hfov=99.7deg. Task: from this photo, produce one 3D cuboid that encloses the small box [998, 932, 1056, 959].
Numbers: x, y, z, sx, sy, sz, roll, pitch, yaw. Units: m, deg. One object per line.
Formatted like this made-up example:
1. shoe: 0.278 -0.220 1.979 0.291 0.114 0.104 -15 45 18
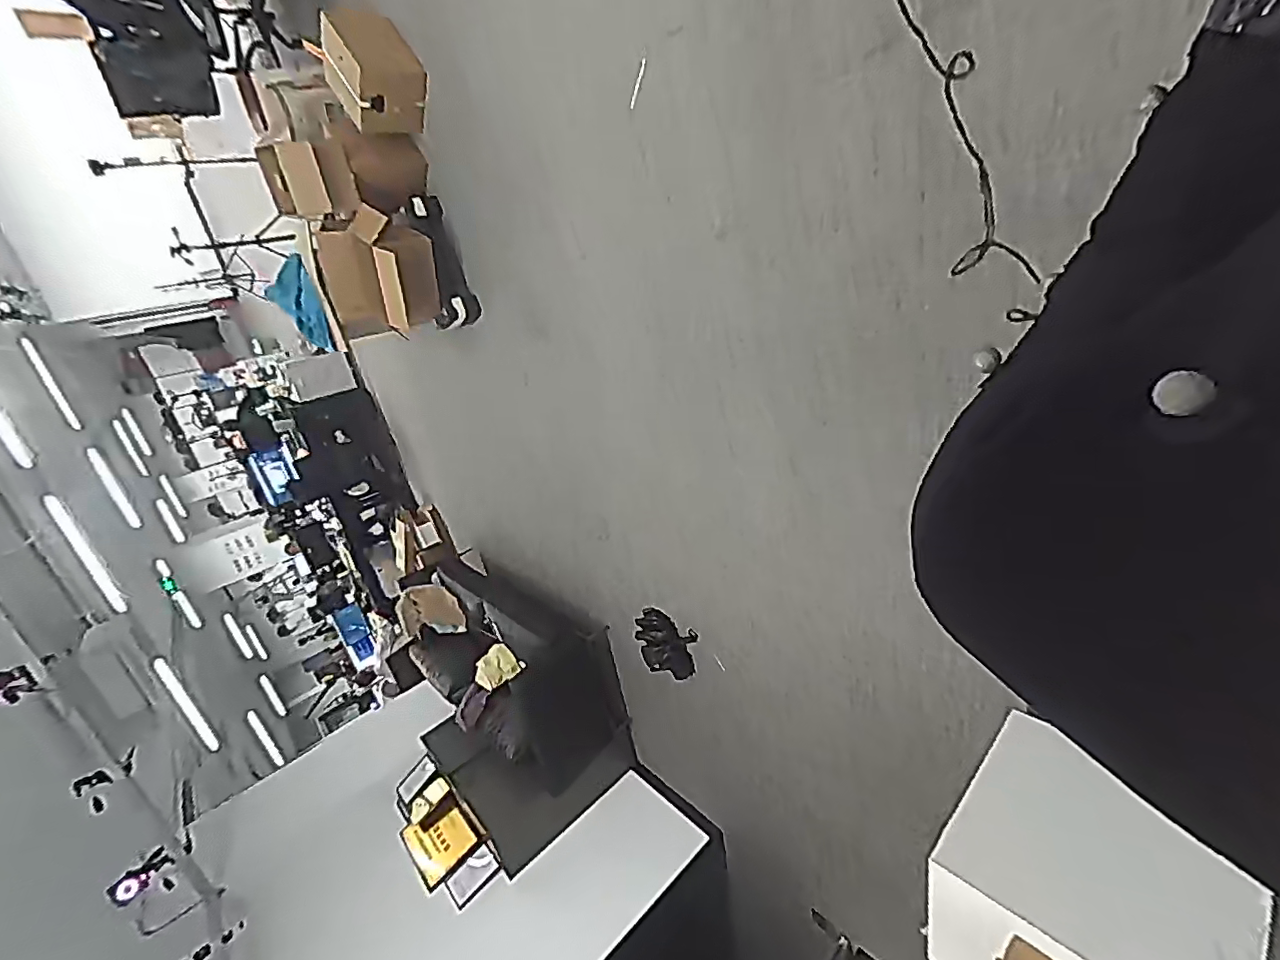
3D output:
1. small box: 0.794 1.061 1.061 0.179 0.176 0.168 15 123 49
